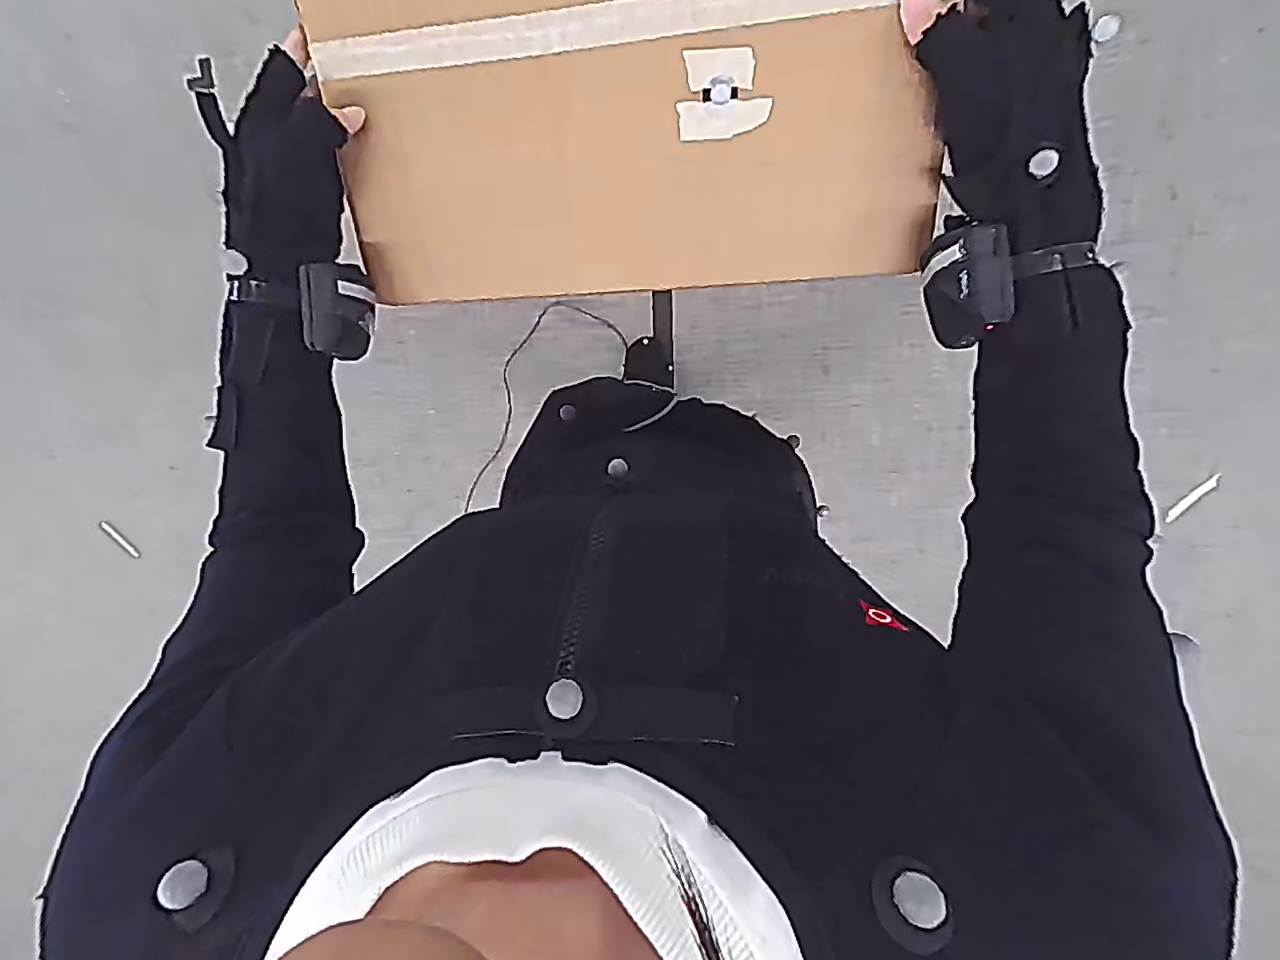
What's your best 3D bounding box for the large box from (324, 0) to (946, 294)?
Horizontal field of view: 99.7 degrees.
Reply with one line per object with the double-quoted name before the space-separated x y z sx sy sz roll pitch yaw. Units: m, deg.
"large box" 0.003 -0.353 0.482 0.408 0.320 0.320 -1 113 8
